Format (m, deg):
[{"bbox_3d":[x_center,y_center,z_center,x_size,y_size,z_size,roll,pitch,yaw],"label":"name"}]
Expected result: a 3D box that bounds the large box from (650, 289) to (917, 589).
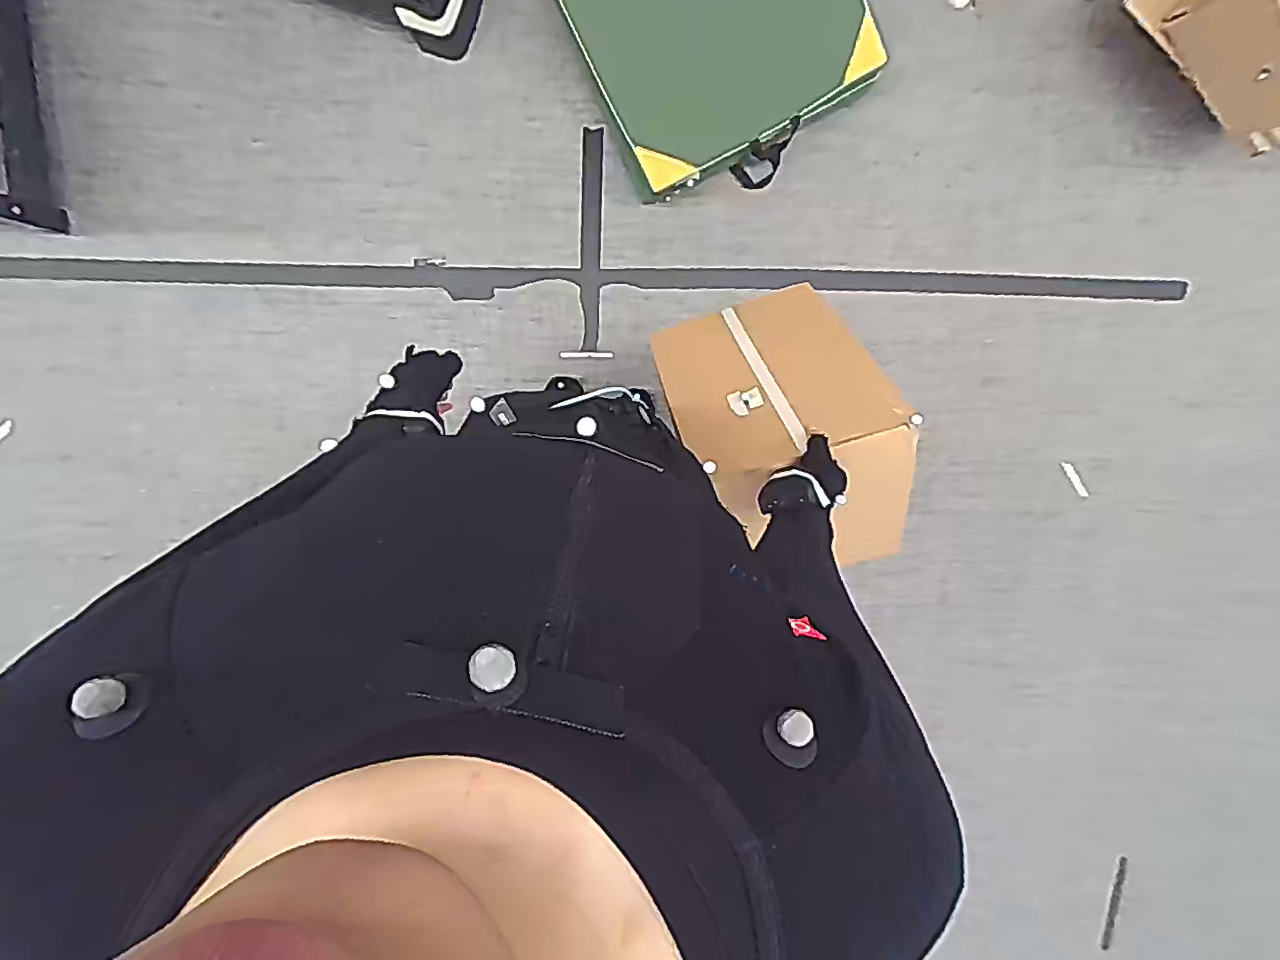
[{"bbox_3d":[0.236,-0.078,0.989,0.320,0.408,0.320,-18,137,5],"label":"large box"}]
